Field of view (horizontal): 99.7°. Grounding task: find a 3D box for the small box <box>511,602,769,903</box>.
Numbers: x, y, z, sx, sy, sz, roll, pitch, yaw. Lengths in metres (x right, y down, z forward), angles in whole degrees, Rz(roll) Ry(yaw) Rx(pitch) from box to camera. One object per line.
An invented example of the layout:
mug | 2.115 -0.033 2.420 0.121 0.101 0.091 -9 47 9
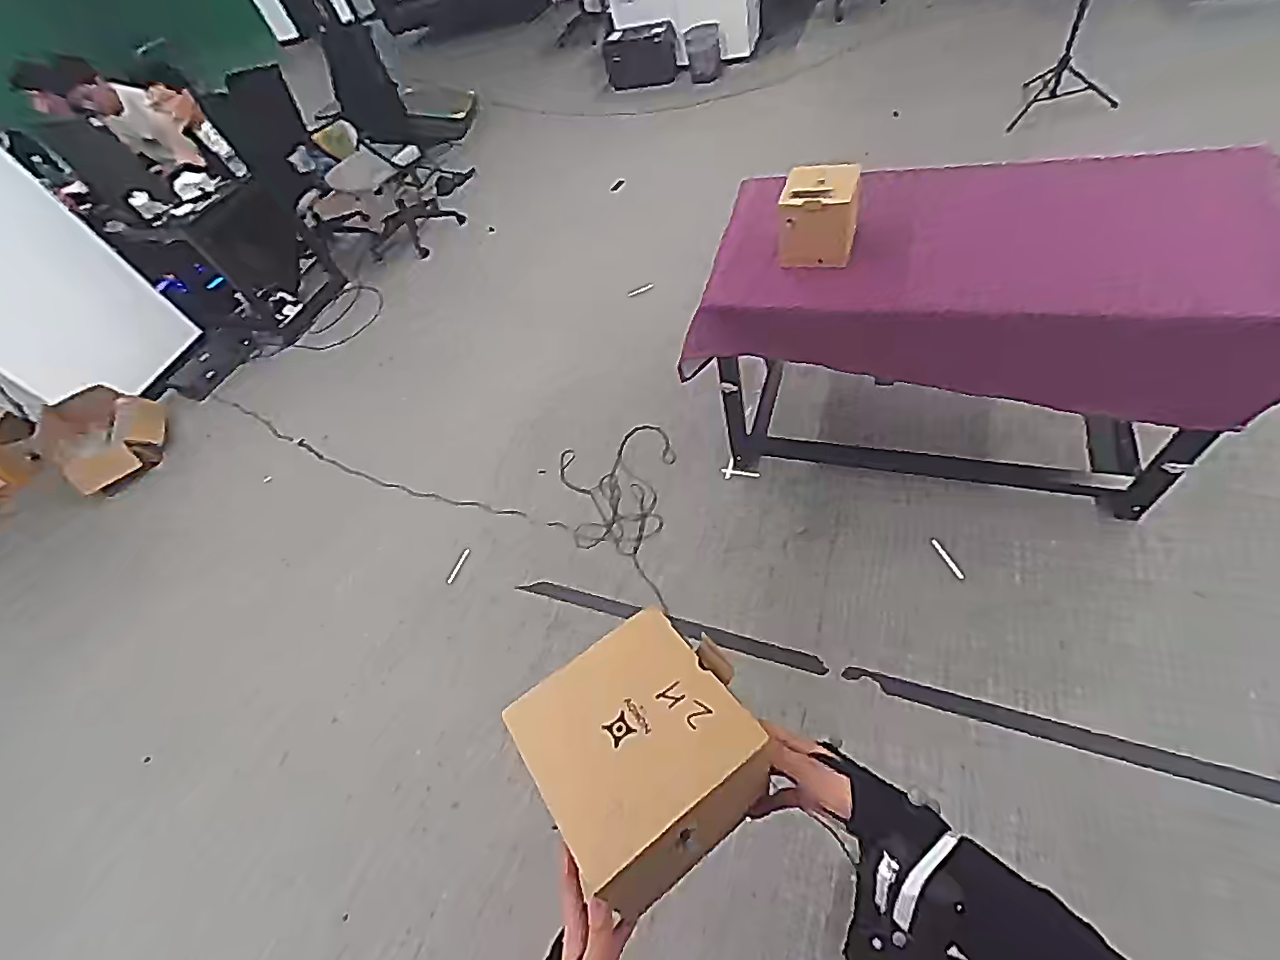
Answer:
small box | 0.008 0.261 0.521 0.179 0.176 0.168 -31 48 -18
